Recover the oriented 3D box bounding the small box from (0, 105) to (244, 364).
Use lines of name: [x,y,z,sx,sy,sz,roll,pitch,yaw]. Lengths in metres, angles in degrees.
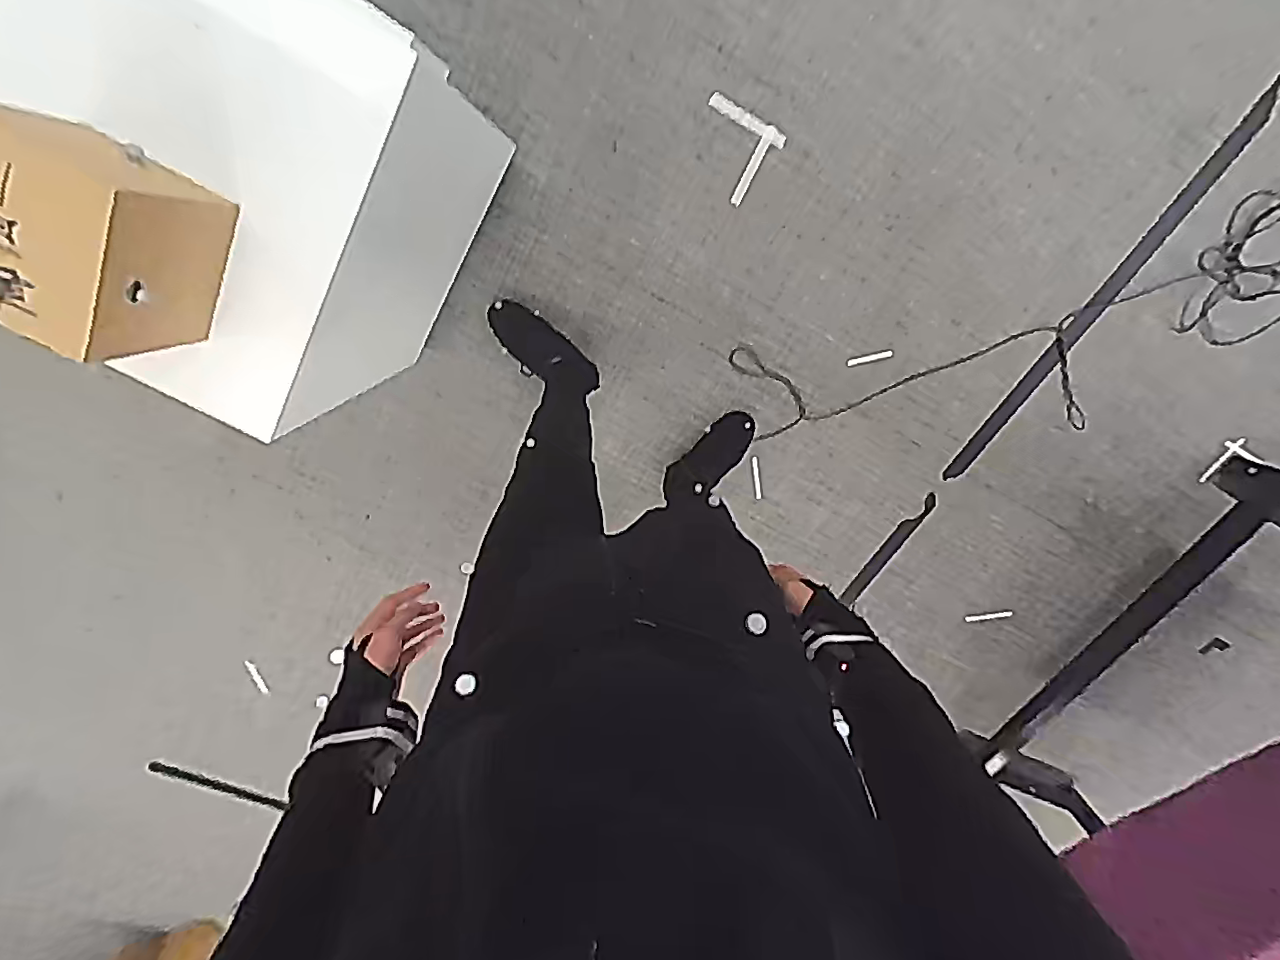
small box: [-0.560,-0.248,0.562,0.168,0.176,0.179,27,109,-12]
